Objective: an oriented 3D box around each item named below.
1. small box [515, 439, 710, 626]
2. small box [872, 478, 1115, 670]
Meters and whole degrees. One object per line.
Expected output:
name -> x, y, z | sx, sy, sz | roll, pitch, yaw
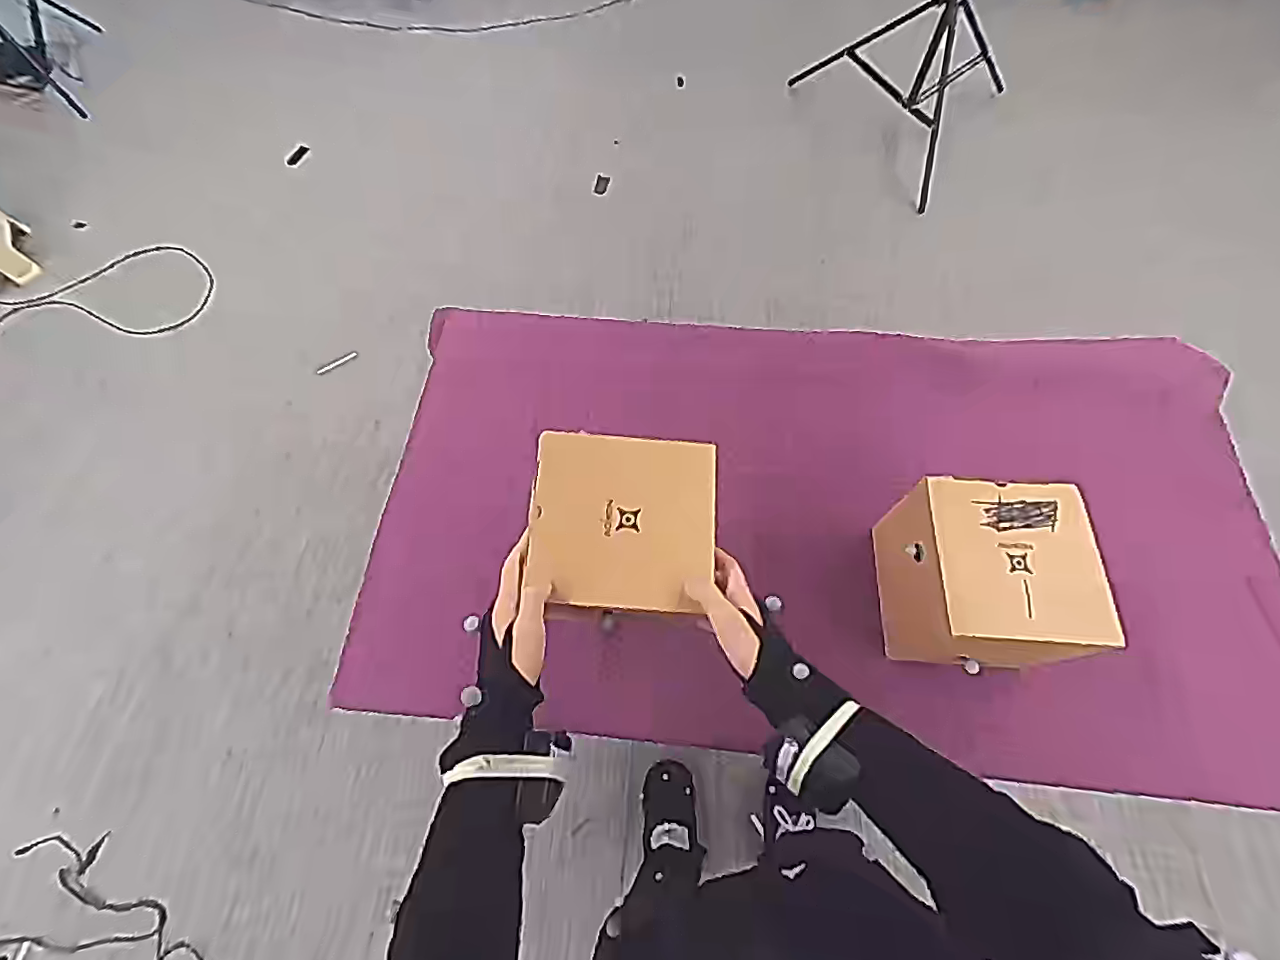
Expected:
small box -> -0.027, 0.067, 0.590 | 0.179, 0.176, 0.168 | 4, 72, -2
small box -> 0.388, 0.116, 0.636 | 0.168, 0.176, 0.179 | 3, 65, 3
